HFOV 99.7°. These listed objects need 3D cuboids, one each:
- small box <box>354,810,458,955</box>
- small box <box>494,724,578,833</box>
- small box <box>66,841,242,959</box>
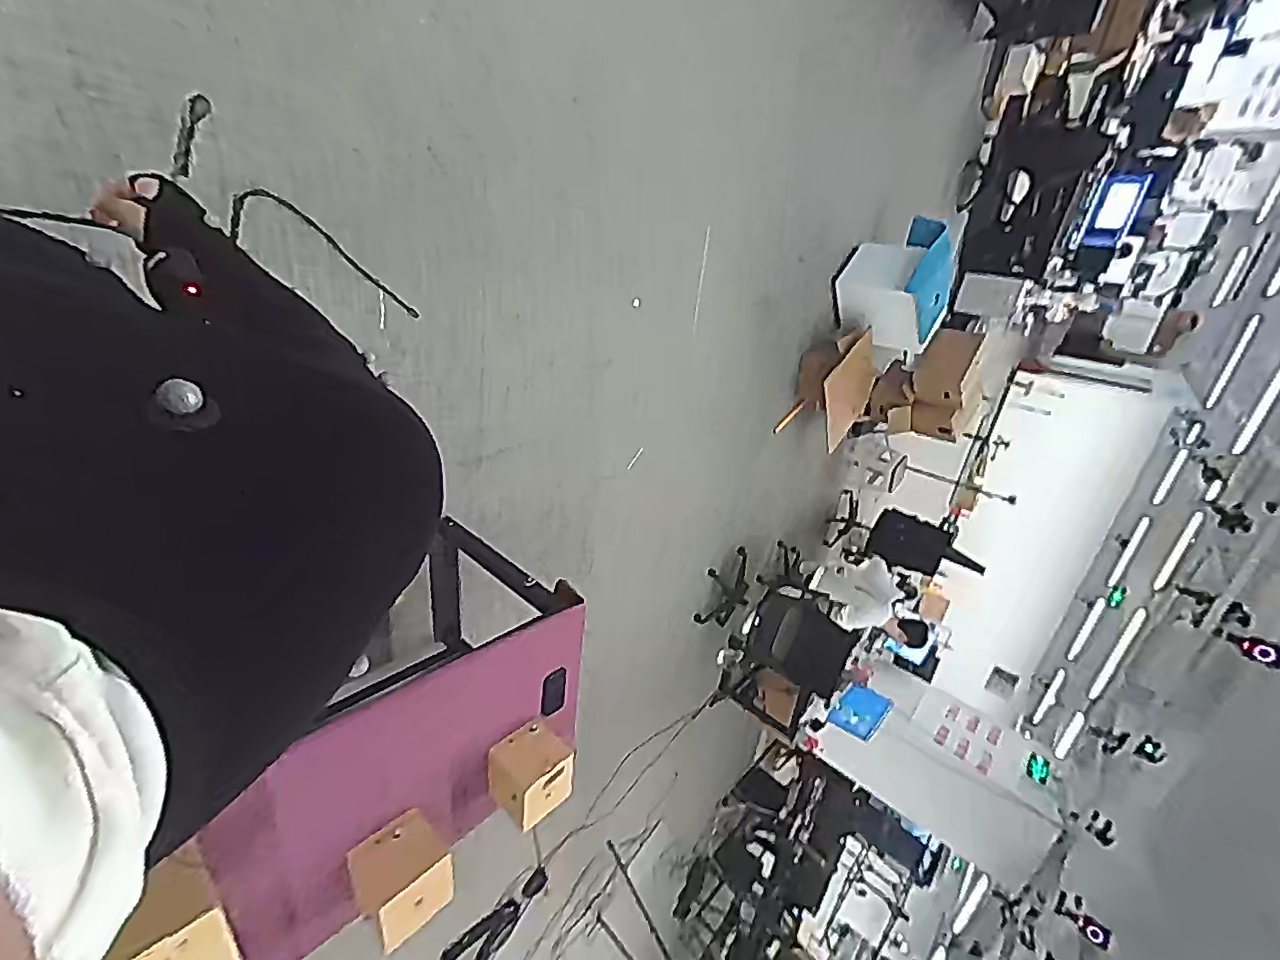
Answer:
[{"bbox_3d":[-0.542,0.924,1.257,0.168,0.176,0.179,-20,125,-45],"label":"small box"},{"bbox_3d":[-0.292,0.814,1.501,0.168,0.176,0.179,-19,125,-44],"label":"small box"},{"bbox_3d":[-0.763,0.732,0.858,0.168,0.176,0.179,-21,126,-45],"label":"small box"}]
